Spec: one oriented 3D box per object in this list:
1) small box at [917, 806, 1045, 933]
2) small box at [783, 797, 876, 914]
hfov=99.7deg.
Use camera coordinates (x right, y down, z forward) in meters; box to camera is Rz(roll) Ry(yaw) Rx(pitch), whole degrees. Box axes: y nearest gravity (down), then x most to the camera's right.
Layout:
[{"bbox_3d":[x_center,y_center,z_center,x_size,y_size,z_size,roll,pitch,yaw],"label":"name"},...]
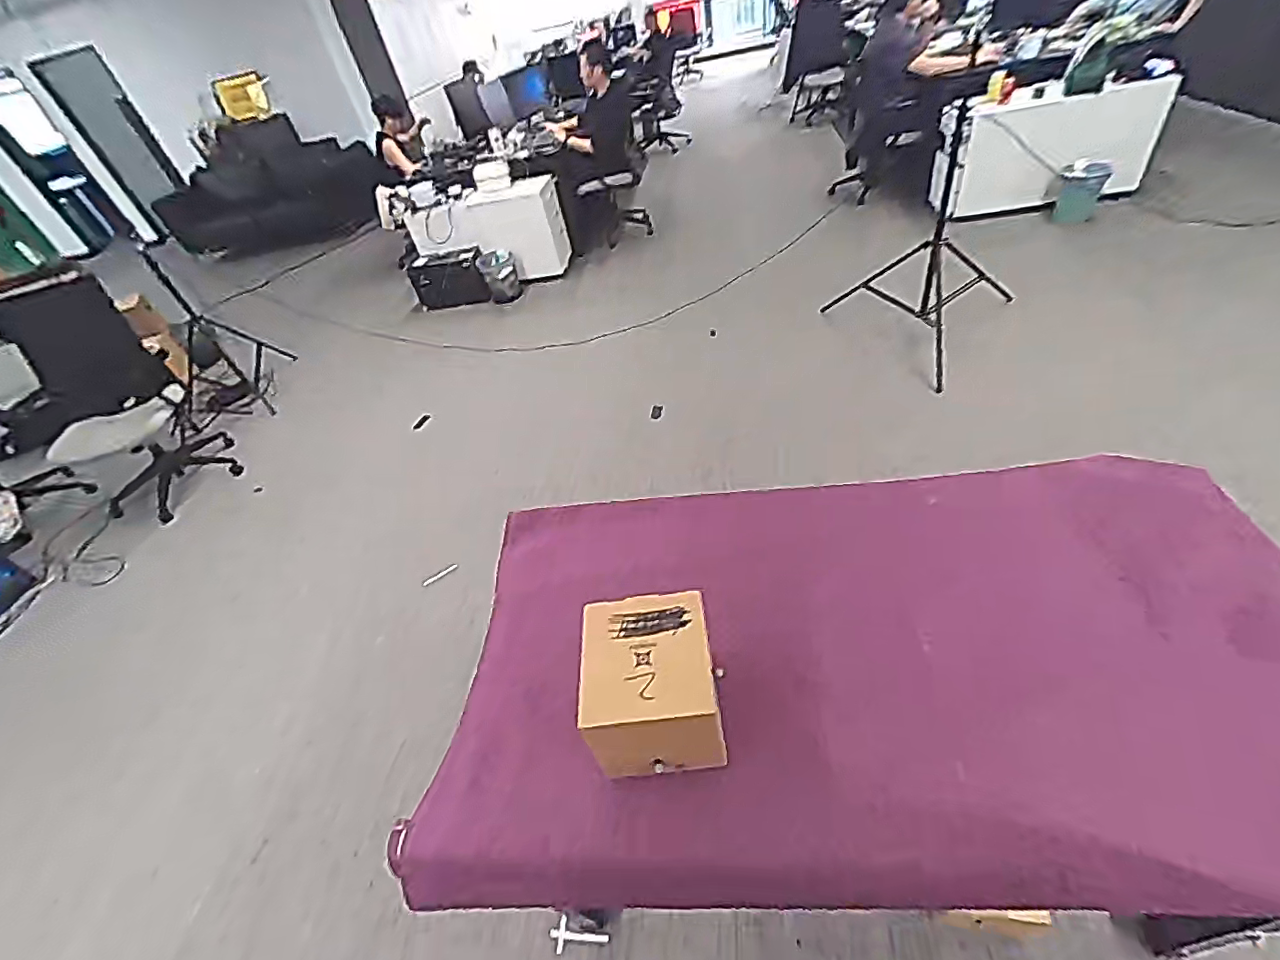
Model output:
[{"bbox_3d":[0.683,0.798,1.107,0.168,0.176,0.179,-2,43,13],"label":"small box"},{"bbox_3d":[0.400,0.810,1.166,0.168,0.176,0.179,-3,43,11],"label":"small box"}]
